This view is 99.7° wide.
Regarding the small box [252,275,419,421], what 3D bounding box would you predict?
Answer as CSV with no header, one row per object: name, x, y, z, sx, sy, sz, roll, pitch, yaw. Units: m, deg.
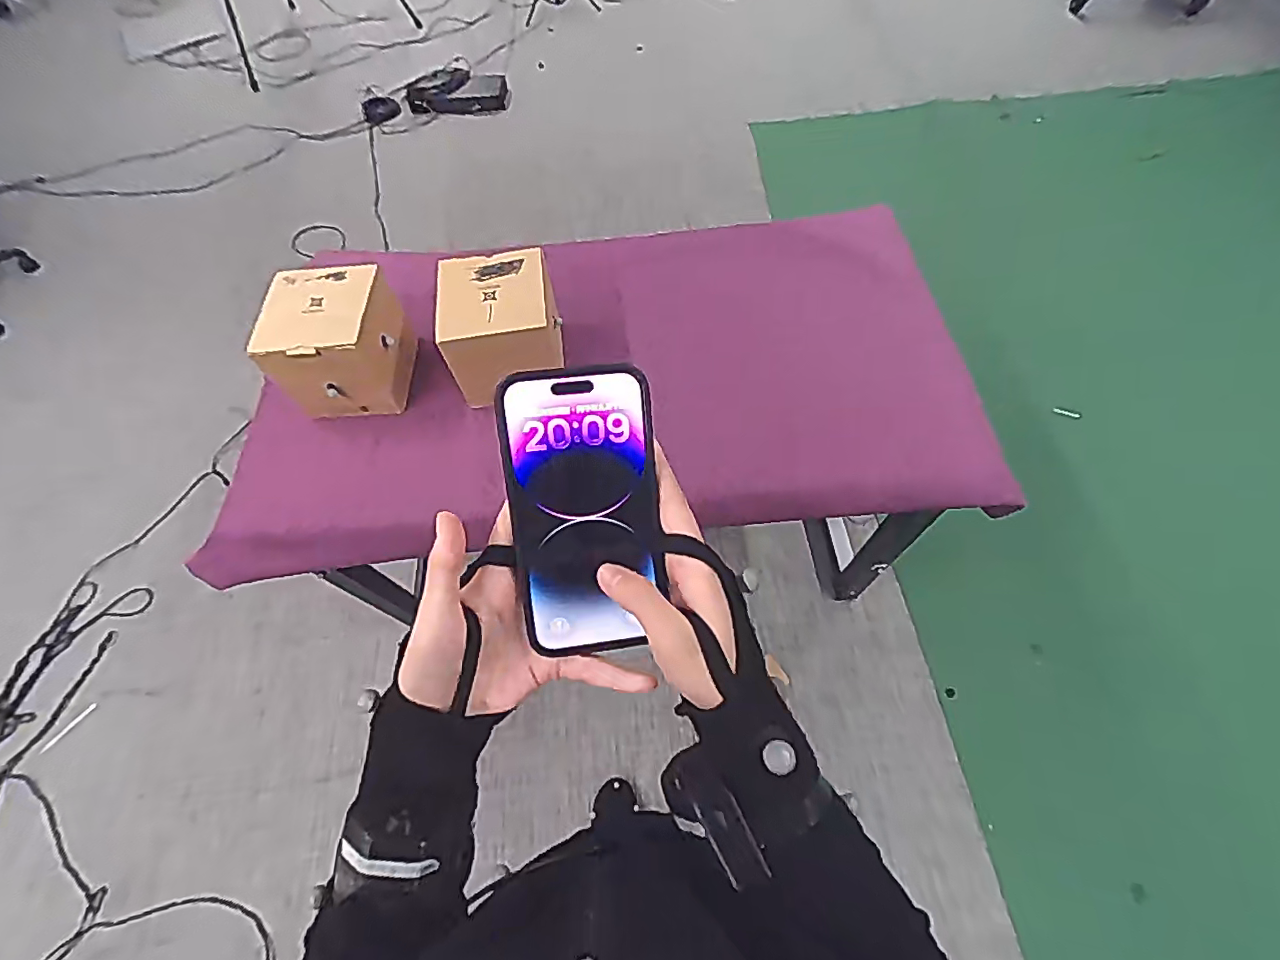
small box,-0.488,-0.211,0.901,0.168,0.176,0.179,-4,61,1

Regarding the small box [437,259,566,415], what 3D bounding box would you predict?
small box,-0.221,-0.233,0.897,0.168,0.176,0.179,-9,61,-1
